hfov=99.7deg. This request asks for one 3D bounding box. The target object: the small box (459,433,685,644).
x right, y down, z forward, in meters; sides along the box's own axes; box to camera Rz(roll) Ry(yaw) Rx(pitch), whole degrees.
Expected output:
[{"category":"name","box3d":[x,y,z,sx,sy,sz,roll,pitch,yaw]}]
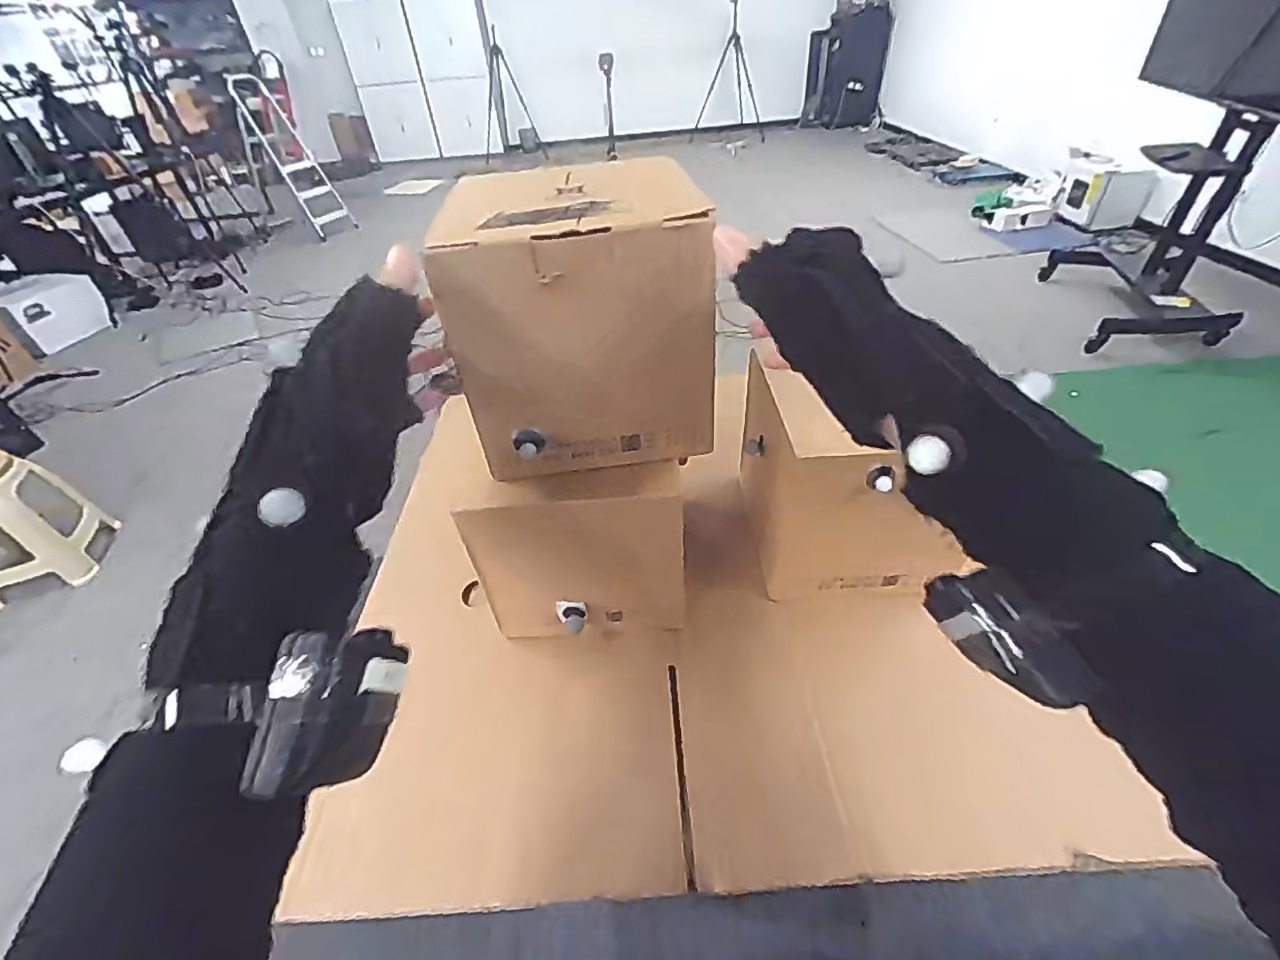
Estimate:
[{"category":"small box","box3d":[-0.048,0.027,0.502,0.168,0.176,0.179,-5,42,1]}]

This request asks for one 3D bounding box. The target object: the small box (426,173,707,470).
[{"category":"small box","box3d":[-0.042,-0.120,0.421,0.168,0.176,0.179,-7,39,-2]}]

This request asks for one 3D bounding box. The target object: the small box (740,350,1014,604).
[{"category":"small box","box3d":[0.191,-0.006,0.506,0.168,0.176,0.179,-3,39,1]}]
